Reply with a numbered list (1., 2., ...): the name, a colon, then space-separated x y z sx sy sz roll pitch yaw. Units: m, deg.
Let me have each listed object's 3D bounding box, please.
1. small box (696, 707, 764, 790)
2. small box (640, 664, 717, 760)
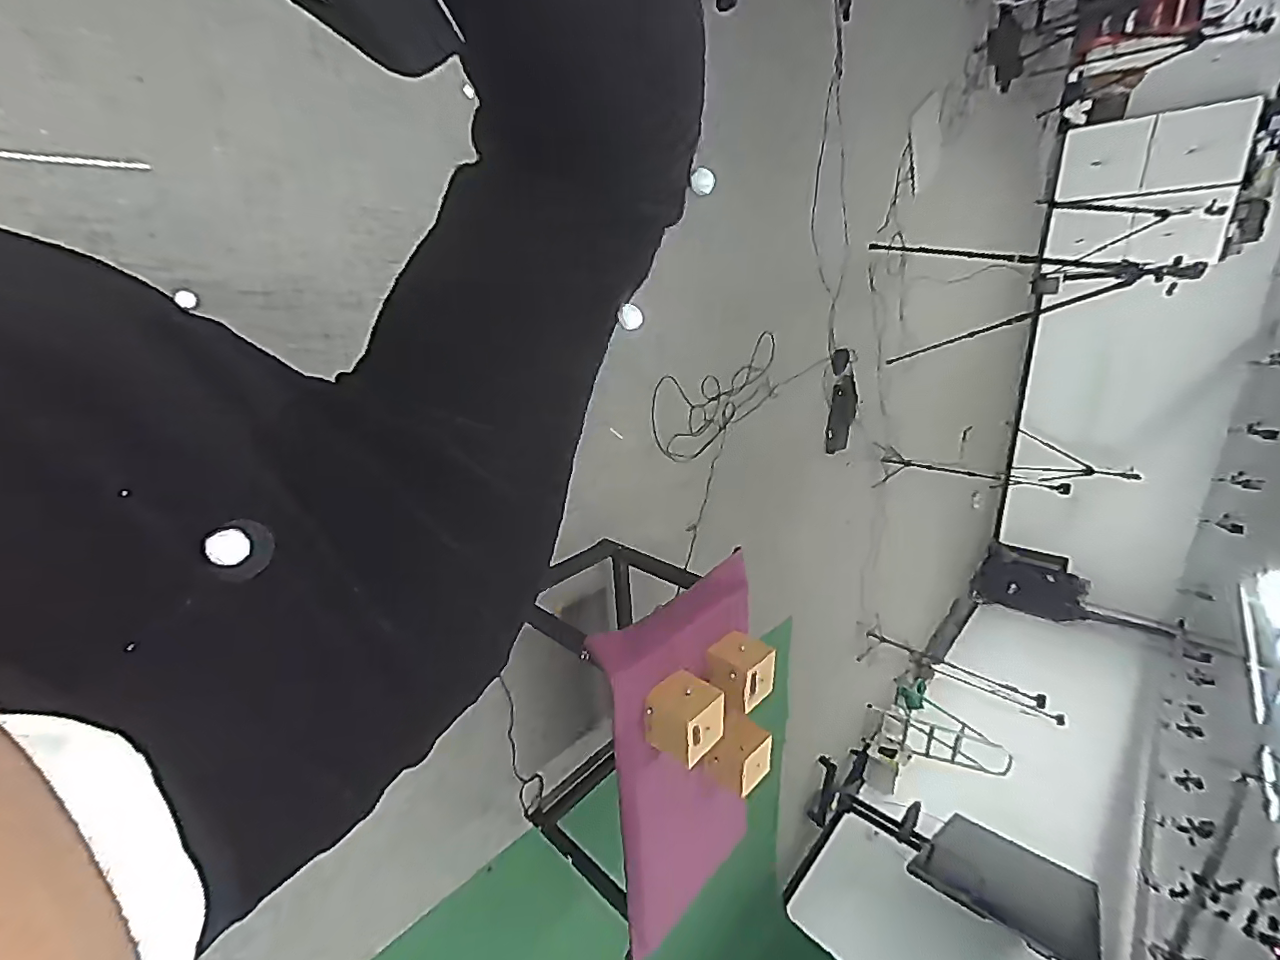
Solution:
1. small box: 0.324 0.960 1.954 0.179 0.176 0.168 -17 114 -43
2. small box: 0.112 0.691 1.629 0.179 0.176 0.168 -21 117 -44
